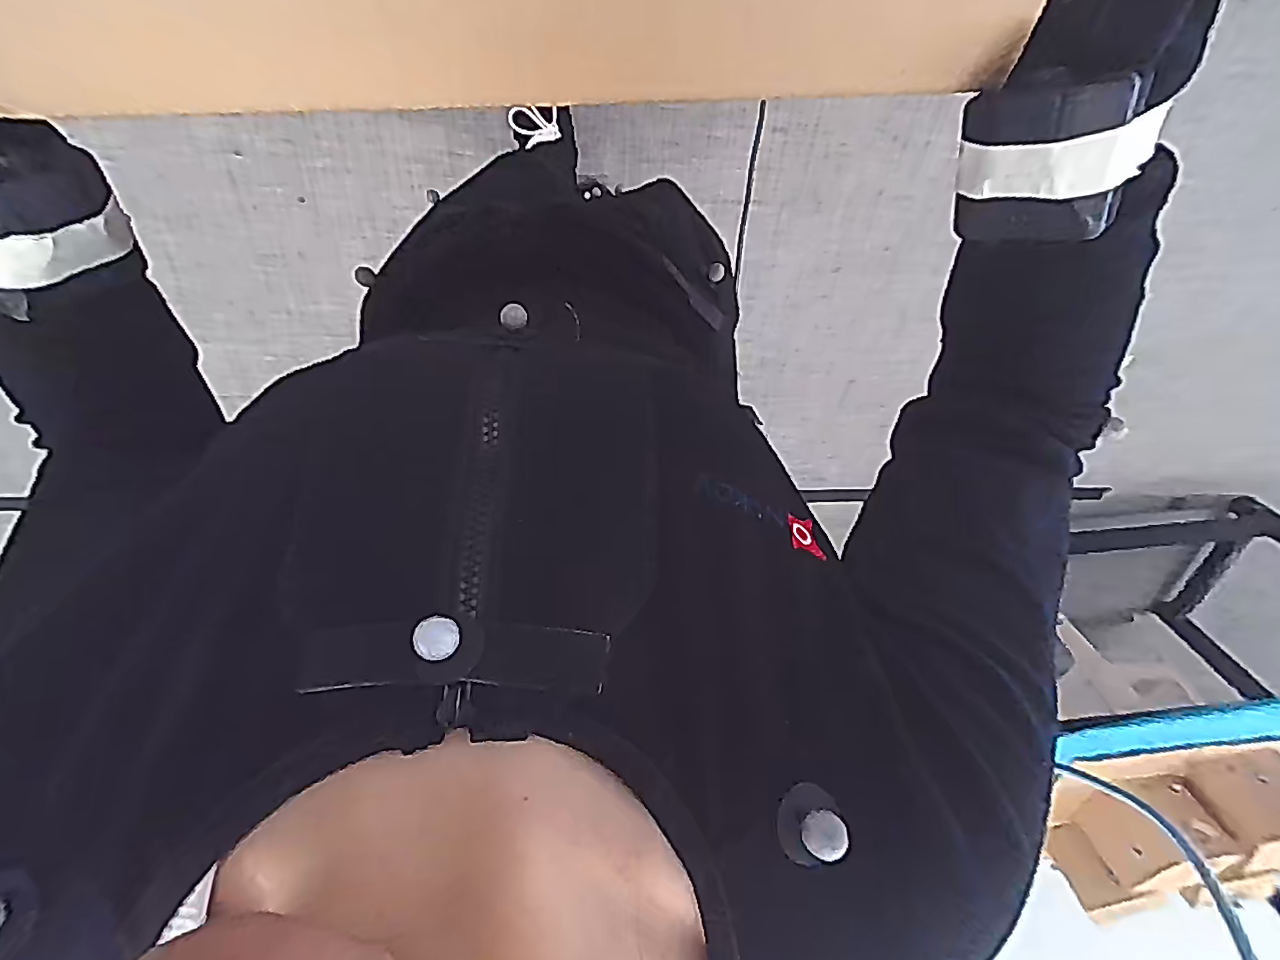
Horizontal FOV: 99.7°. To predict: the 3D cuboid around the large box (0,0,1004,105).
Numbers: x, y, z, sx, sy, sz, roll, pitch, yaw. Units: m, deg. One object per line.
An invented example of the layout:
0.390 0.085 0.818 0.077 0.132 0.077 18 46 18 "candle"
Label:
-0.063 -0.372 0.180 0.408 0.320 0.320 -3 145 -3 "large box"
